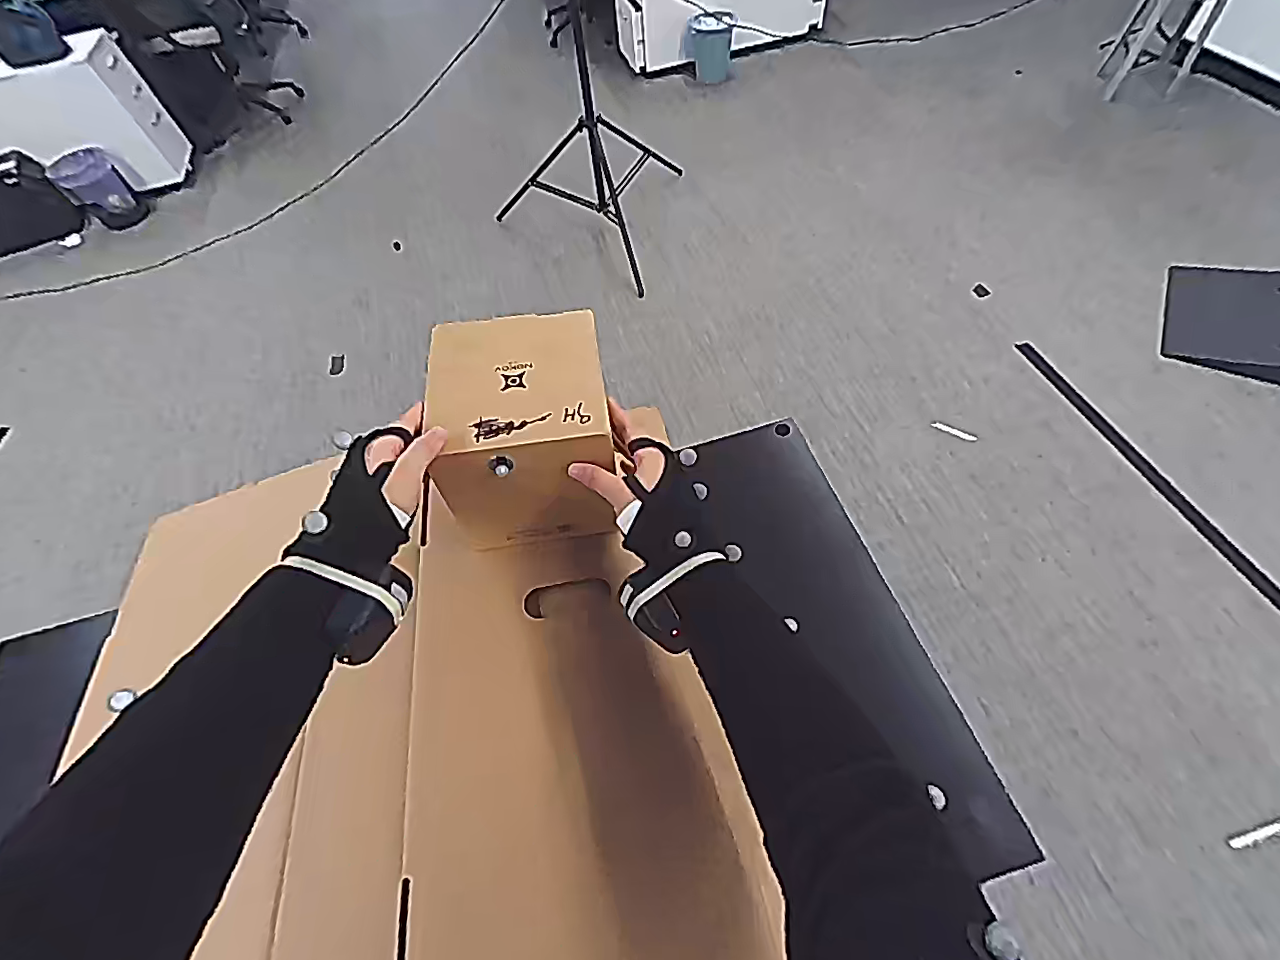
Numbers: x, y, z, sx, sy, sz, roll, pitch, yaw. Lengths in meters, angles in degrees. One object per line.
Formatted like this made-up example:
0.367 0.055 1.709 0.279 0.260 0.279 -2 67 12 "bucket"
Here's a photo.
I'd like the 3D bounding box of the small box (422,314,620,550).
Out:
-0.114 -0.048 0.576 0.168 0.176 0.179 -8 54 -3 "small box"
